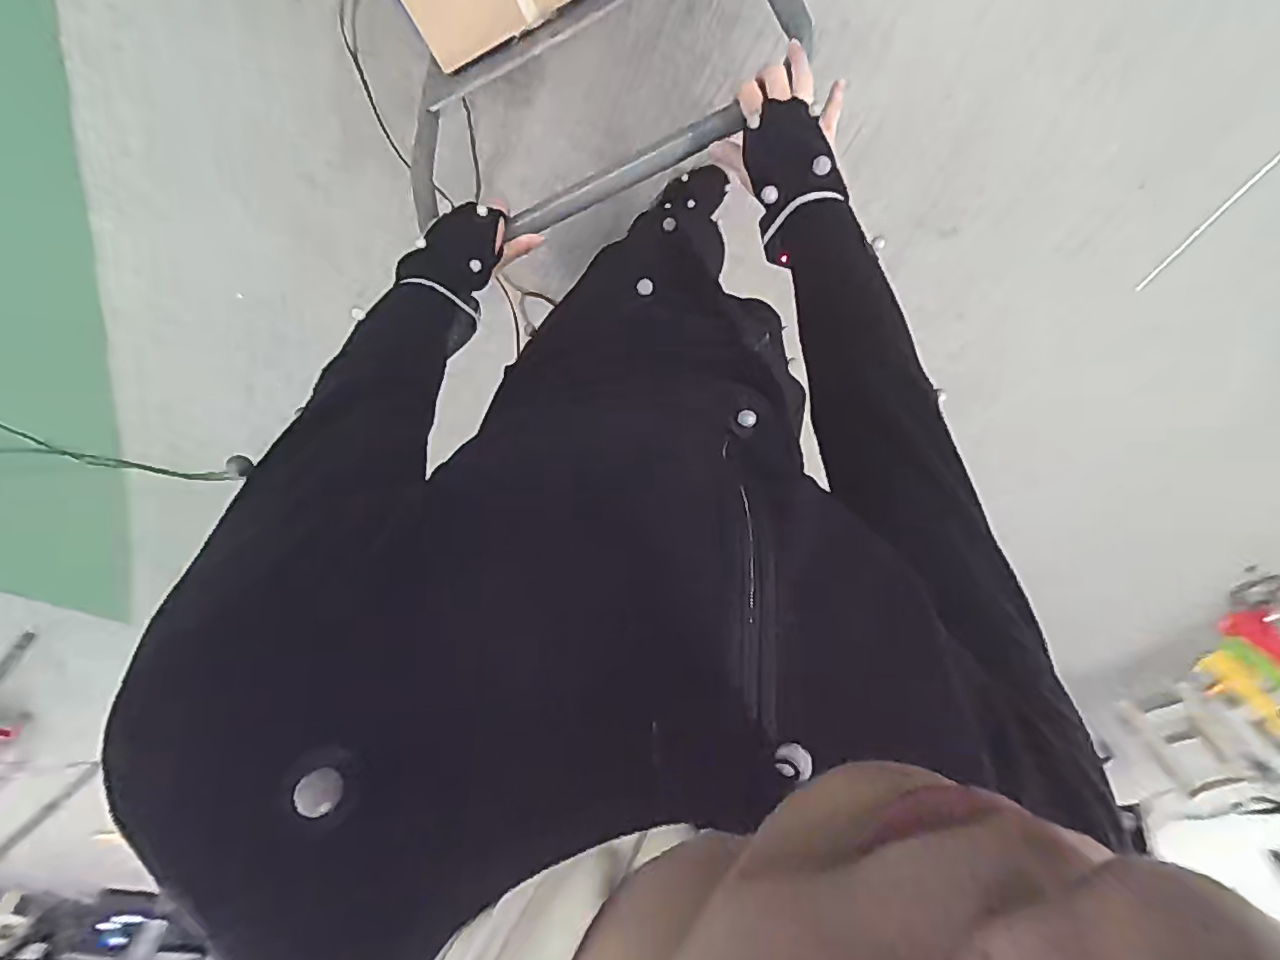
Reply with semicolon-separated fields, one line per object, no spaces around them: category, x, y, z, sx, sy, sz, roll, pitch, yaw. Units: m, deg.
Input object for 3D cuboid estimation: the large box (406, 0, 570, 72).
large box;-0.244;-0.889;0.732;0.320;0.320;0.408;-20;141;14
